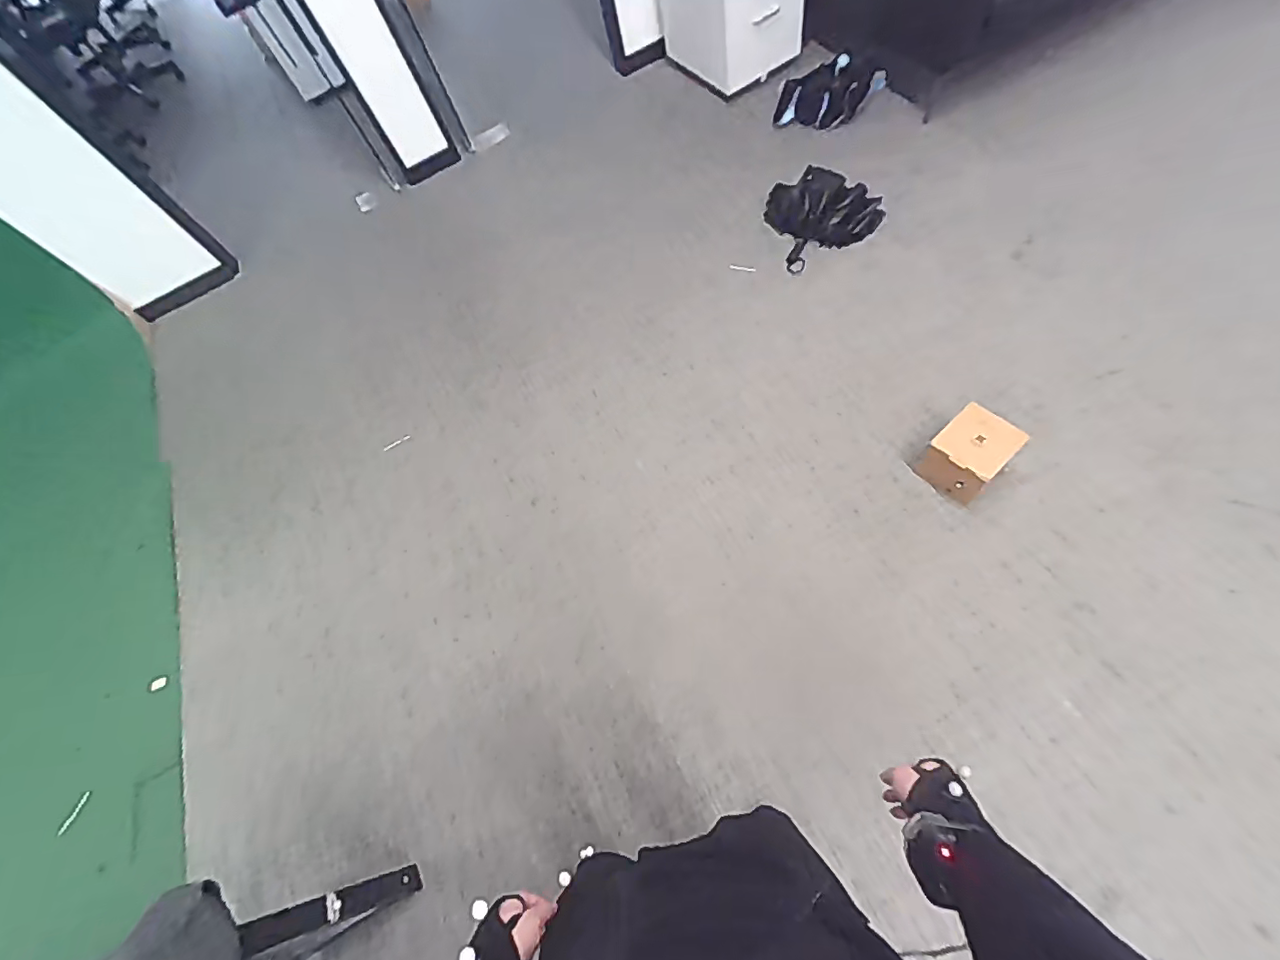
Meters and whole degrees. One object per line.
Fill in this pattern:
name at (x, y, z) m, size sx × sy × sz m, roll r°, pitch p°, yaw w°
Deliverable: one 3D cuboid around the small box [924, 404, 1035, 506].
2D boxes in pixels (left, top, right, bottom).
small box at (0.885, -0.060, 1.433) m, size 0.179 × 0.176 × 0.168 m, roll -42°, pitch 63°, yaw -11°
